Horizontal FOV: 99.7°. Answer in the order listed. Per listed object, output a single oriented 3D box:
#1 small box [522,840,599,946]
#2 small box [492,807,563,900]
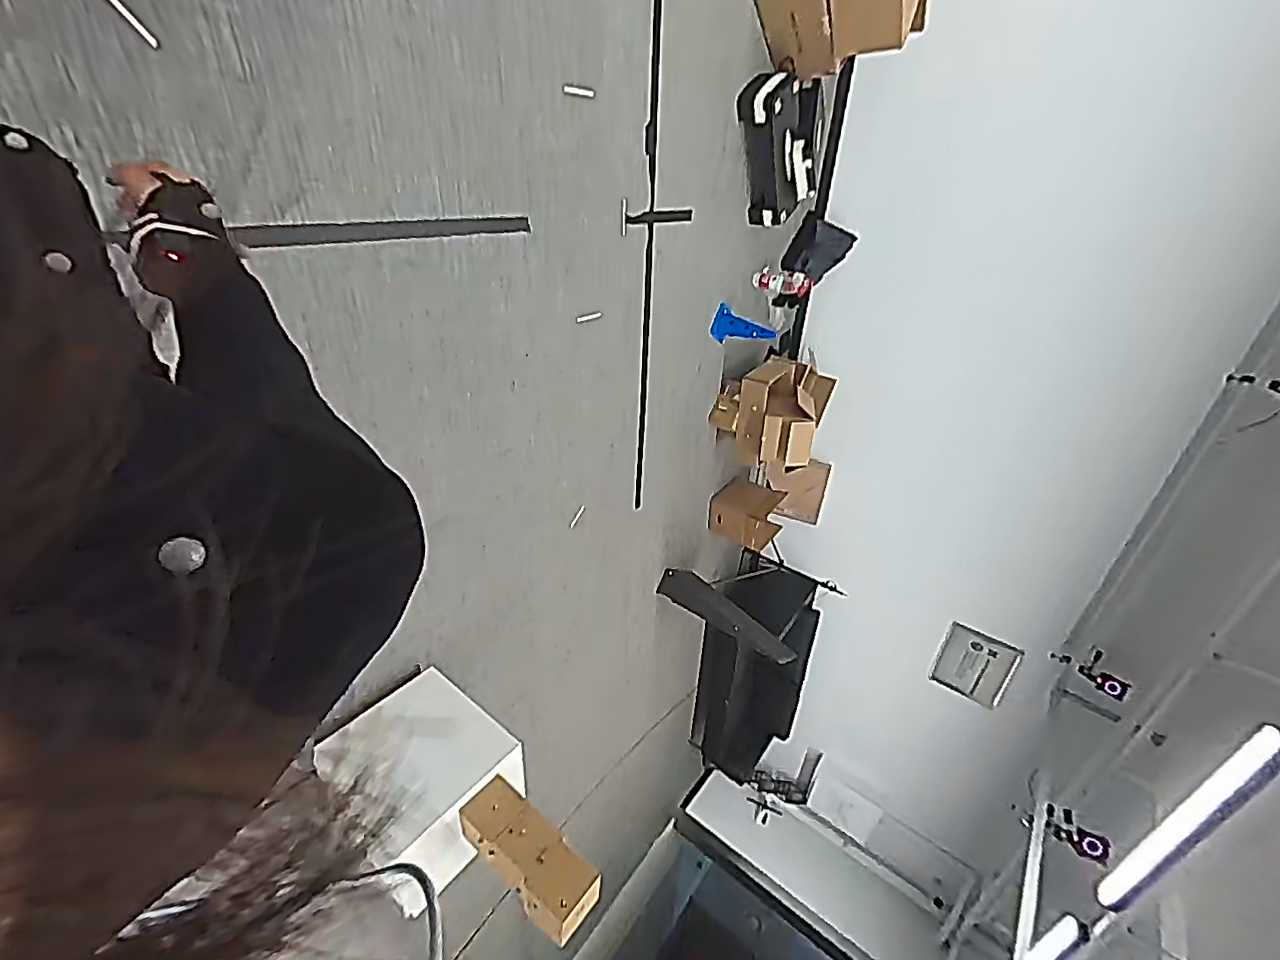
[{"bbox_3d":[-0.255,1.305,1.722,0.179,0.176,0.168,-30,135,-46],"label":"small box"},{"bbox_3d":[-0.379,1.246,1.810,0.168,0.176,0.179,-30,135,-47],"label":"small box"}]
